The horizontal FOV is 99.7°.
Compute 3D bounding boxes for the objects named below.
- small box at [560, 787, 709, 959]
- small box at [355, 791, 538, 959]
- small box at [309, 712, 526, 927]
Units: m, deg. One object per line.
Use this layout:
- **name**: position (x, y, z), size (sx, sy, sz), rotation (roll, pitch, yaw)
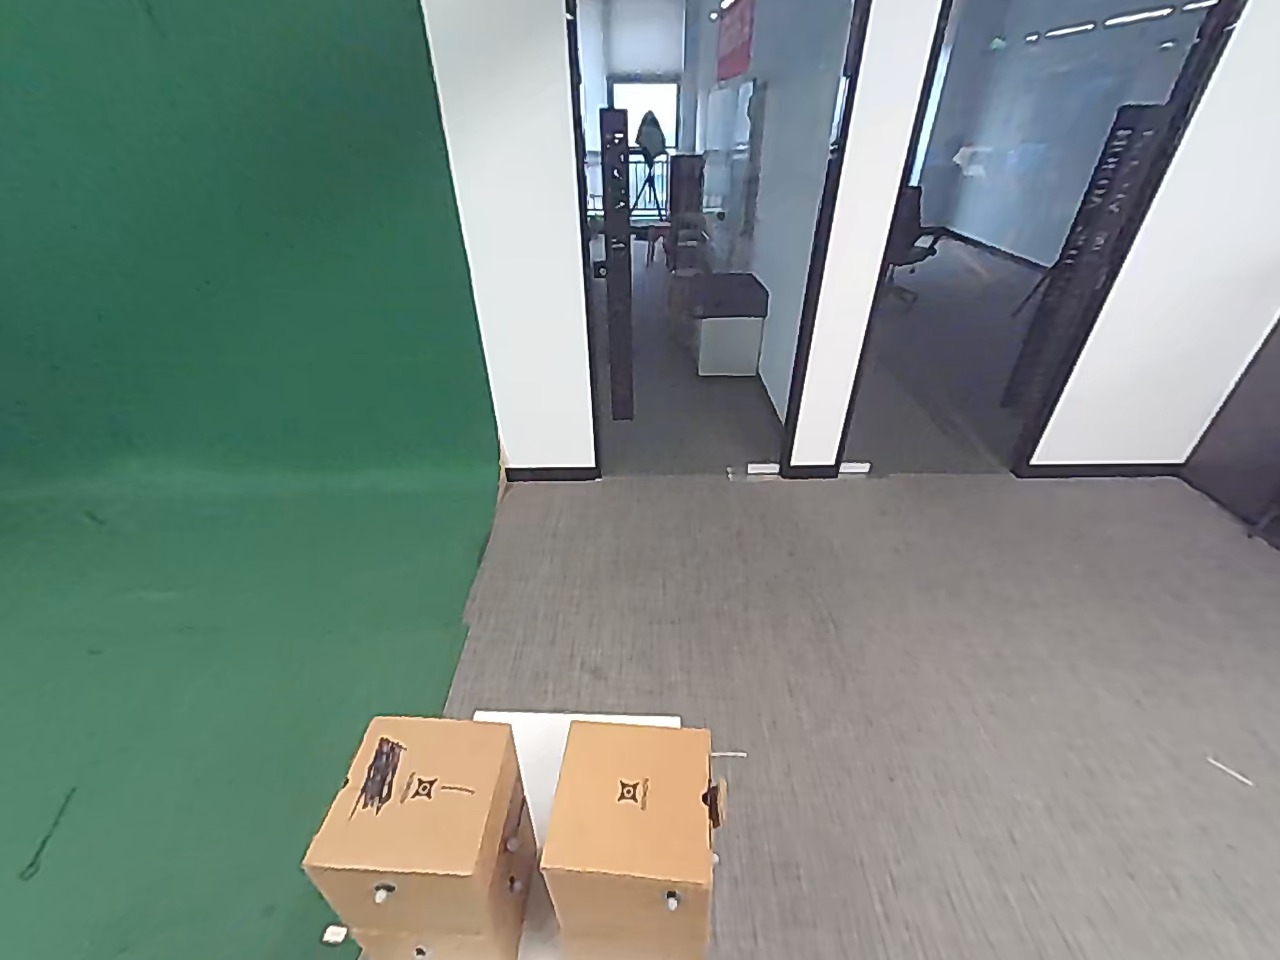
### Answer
- **small box**: position (-0.001, 0.548, 0.736), size (0.179, 0.176, 0.168), rotation (0, 34, 4)
- **small box**: position (-0.247, 0.545, 0.740), size (0.179, 0.176, 0.168), rotation (3, 35, 2)
- **small box**: position (-0.246, 0.405, 0.649), size (0.179, 0.176, 0.168), rotation (3, 35, 1)
